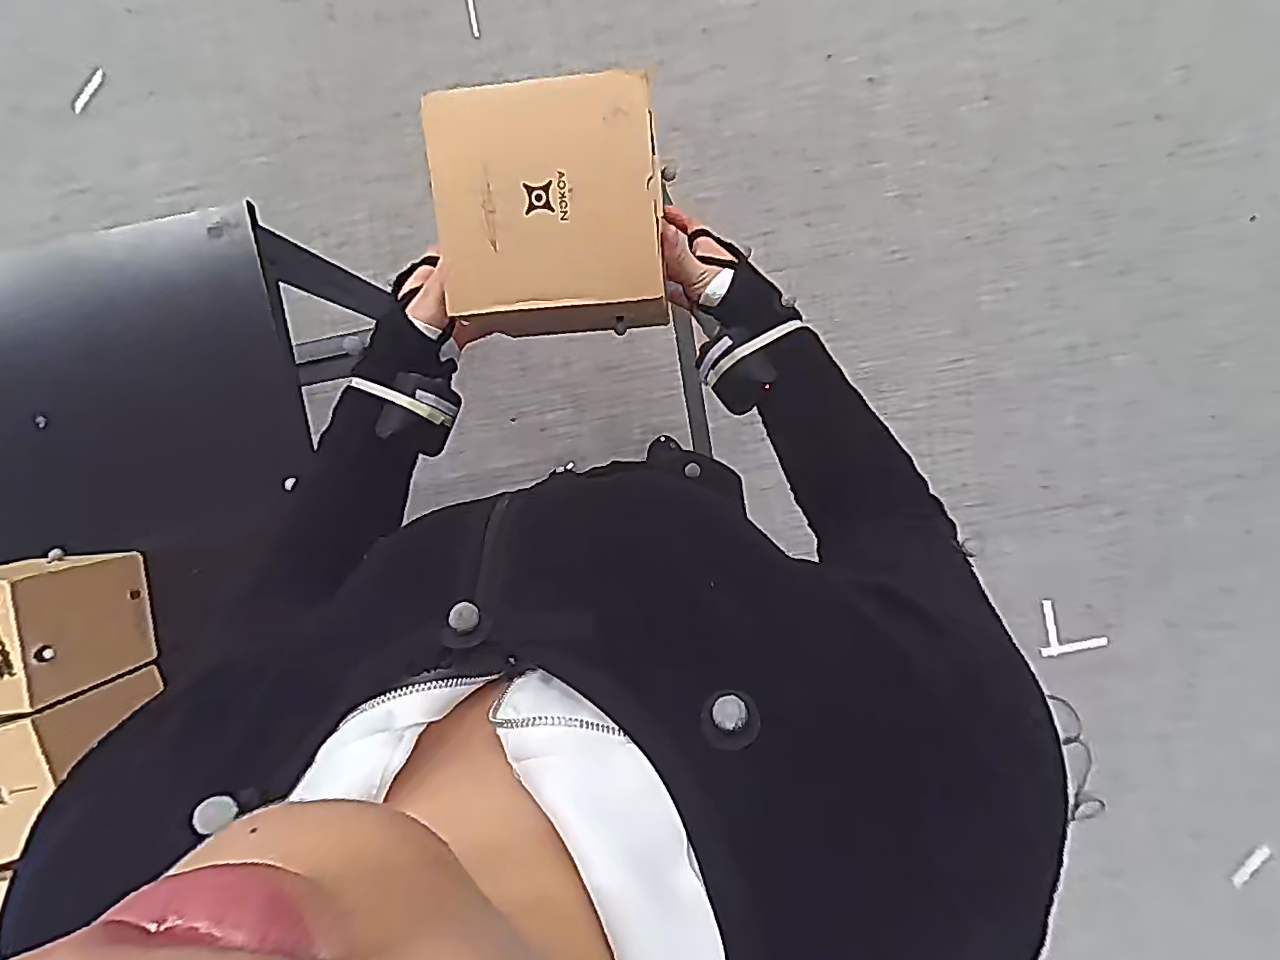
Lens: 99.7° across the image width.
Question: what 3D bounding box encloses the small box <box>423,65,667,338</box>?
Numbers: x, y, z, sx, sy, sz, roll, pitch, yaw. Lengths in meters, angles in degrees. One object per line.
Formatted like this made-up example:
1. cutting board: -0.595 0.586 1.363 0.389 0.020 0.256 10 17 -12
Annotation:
1. small box: -0.067 -0.228 0.491 0.179 0.176 0.168 -4 96 6

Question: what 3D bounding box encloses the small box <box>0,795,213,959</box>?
1. small box: -0.738 0.567 0.750 0.179 0.176 0.168 -7 92 4
